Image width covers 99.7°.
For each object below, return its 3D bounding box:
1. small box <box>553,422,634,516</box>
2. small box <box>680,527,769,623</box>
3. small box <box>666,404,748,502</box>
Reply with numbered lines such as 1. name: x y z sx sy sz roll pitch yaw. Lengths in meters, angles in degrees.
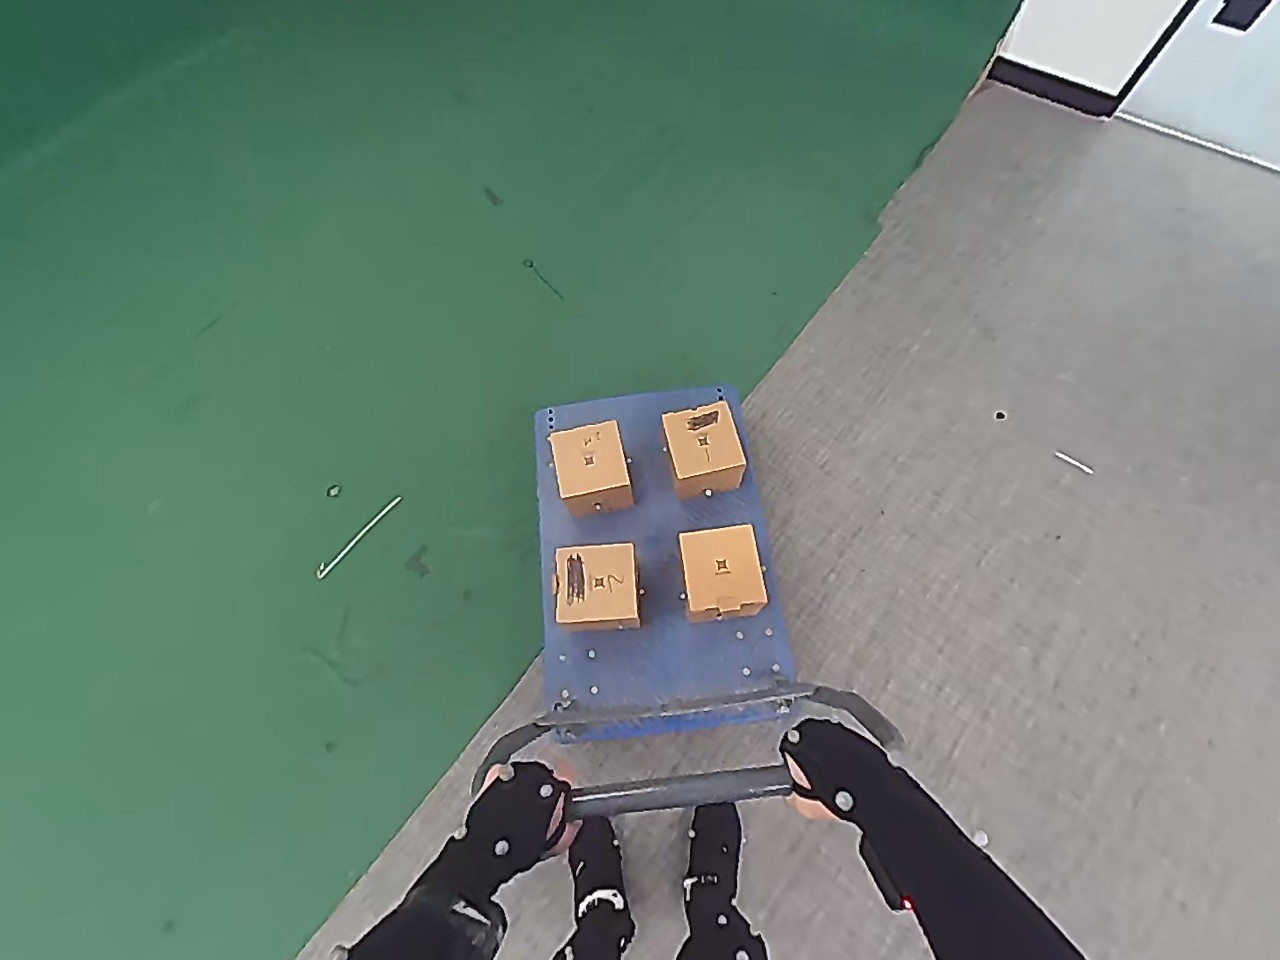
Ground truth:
1. small box: -0.111 -0.019 1.347 0.168 0.176 0.179 -11 68 -2
2. small box: 0.185 0.221 1.238 0.168 0.176 0.179 -7 69 0
3. small box: 0.159 -0.063 1.351 0.168 0.176 0.179 -12 69 -1
